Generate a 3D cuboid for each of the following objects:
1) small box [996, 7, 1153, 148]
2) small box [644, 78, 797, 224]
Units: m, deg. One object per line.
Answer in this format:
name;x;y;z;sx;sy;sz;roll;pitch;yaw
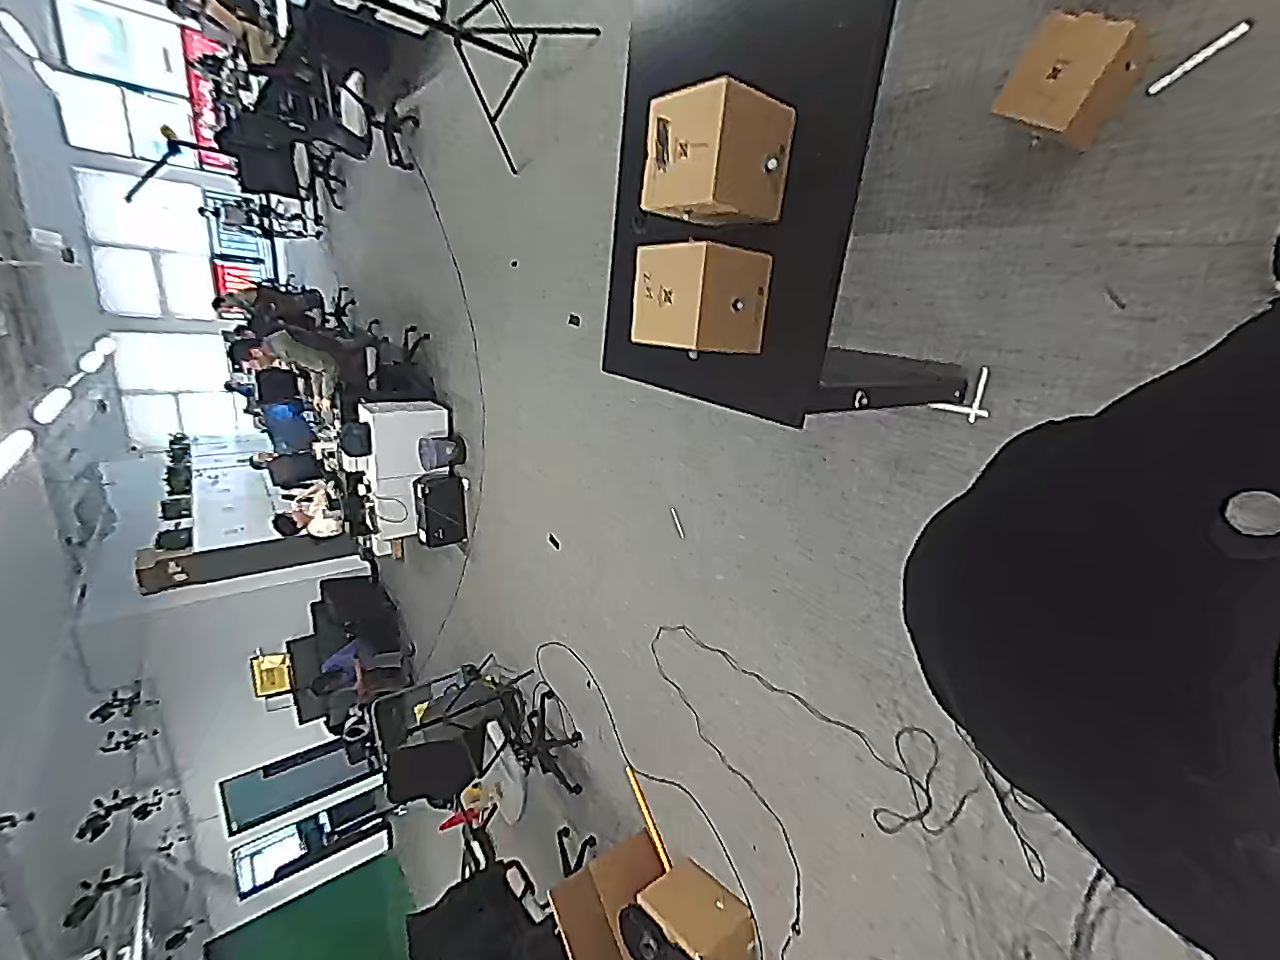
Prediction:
small box;0.876;-0.803;1.090;0.168;0.176;0.179;50;134;35
small box;0.131;-0.533;0.906;0.179;0.176;0.168;26;118;46
